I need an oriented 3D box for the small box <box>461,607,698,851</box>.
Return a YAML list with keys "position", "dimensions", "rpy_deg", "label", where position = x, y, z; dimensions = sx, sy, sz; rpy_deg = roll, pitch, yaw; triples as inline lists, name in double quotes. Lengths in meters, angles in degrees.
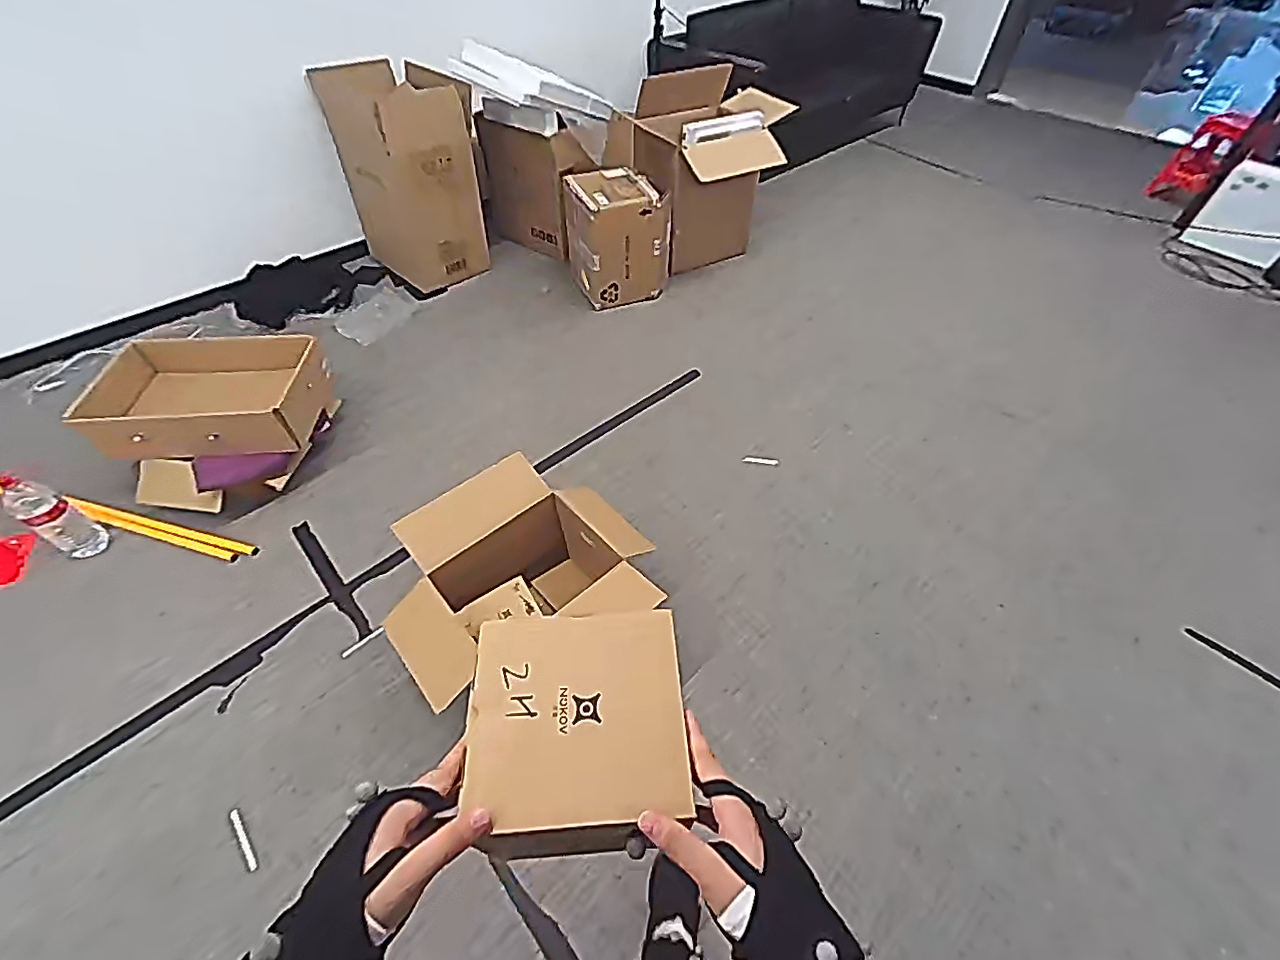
- position: [-0.048, 0.235, 0.505]
  dimensions: [0.179, 0.176, 0.168]
  rpy_deg: [-4, 50, -2]
  label: "small box"
